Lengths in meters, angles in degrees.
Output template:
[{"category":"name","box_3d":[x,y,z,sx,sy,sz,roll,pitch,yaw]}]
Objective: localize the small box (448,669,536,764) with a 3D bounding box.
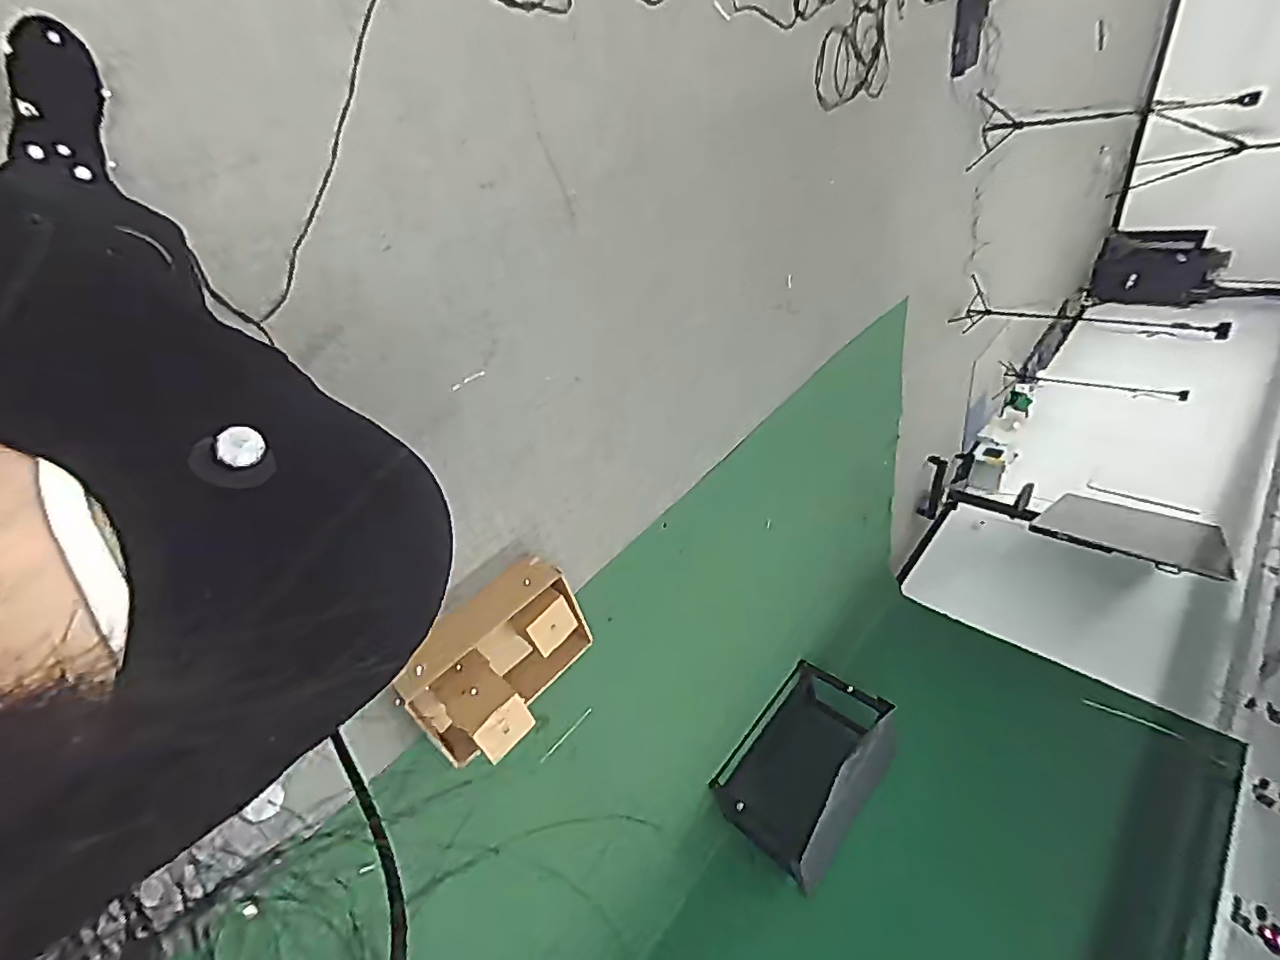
[{"category":"small box","box_3d":[-0.453,0.717,1.654,0.168,0.176,0.179,-40,131,-30]}]
